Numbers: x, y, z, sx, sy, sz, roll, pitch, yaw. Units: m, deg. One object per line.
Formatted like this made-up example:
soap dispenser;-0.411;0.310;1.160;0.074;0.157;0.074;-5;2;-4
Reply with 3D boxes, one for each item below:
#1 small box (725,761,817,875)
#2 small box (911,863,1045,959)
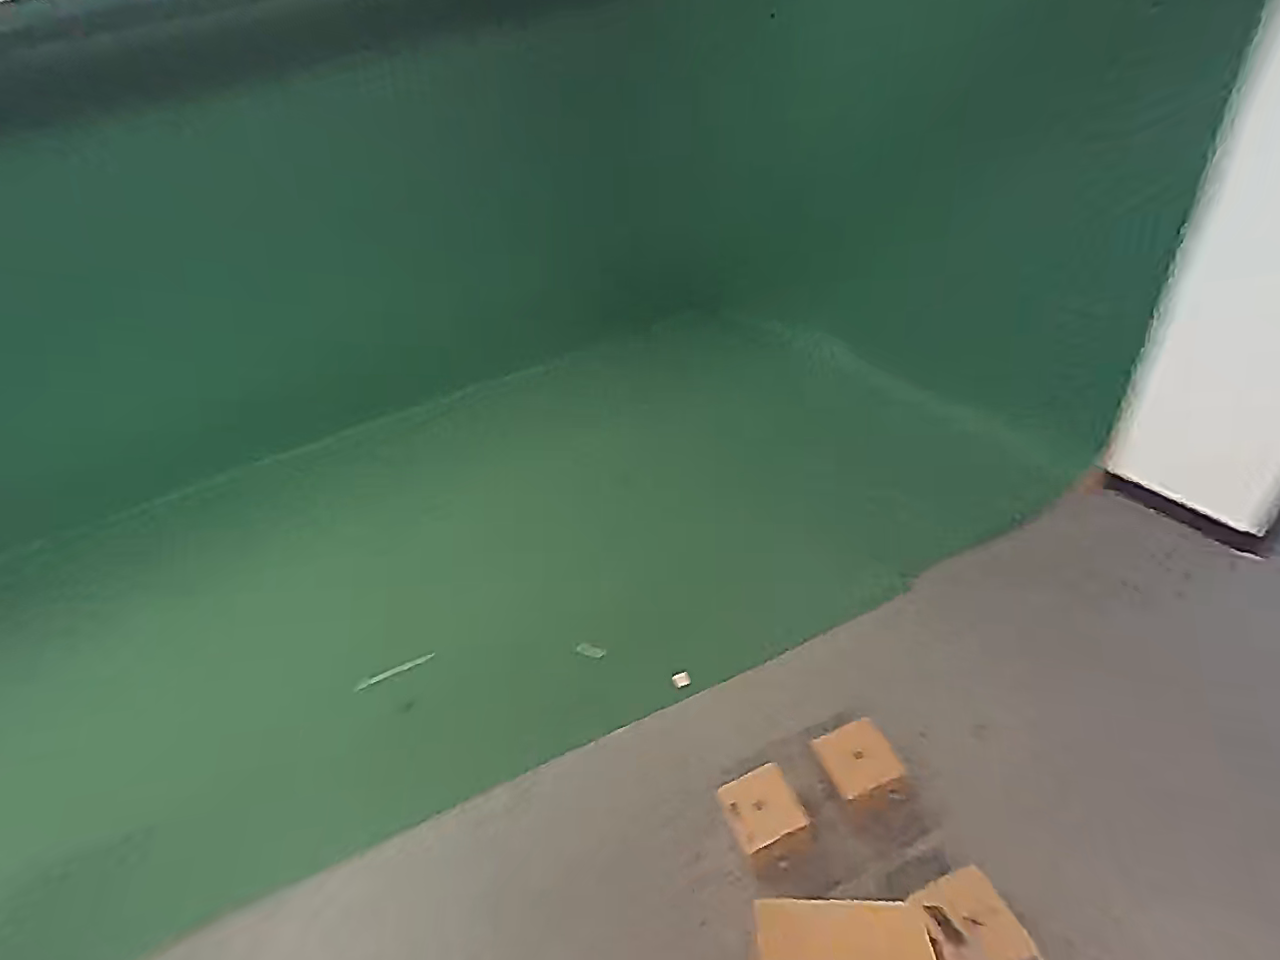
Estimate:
small box;0.338;0.877;1.403;0.179;0.176;0.168;-21;36;-8
small box;0.703;0.966;1.146;0.179;0.176;0.168;-20;36;-6
